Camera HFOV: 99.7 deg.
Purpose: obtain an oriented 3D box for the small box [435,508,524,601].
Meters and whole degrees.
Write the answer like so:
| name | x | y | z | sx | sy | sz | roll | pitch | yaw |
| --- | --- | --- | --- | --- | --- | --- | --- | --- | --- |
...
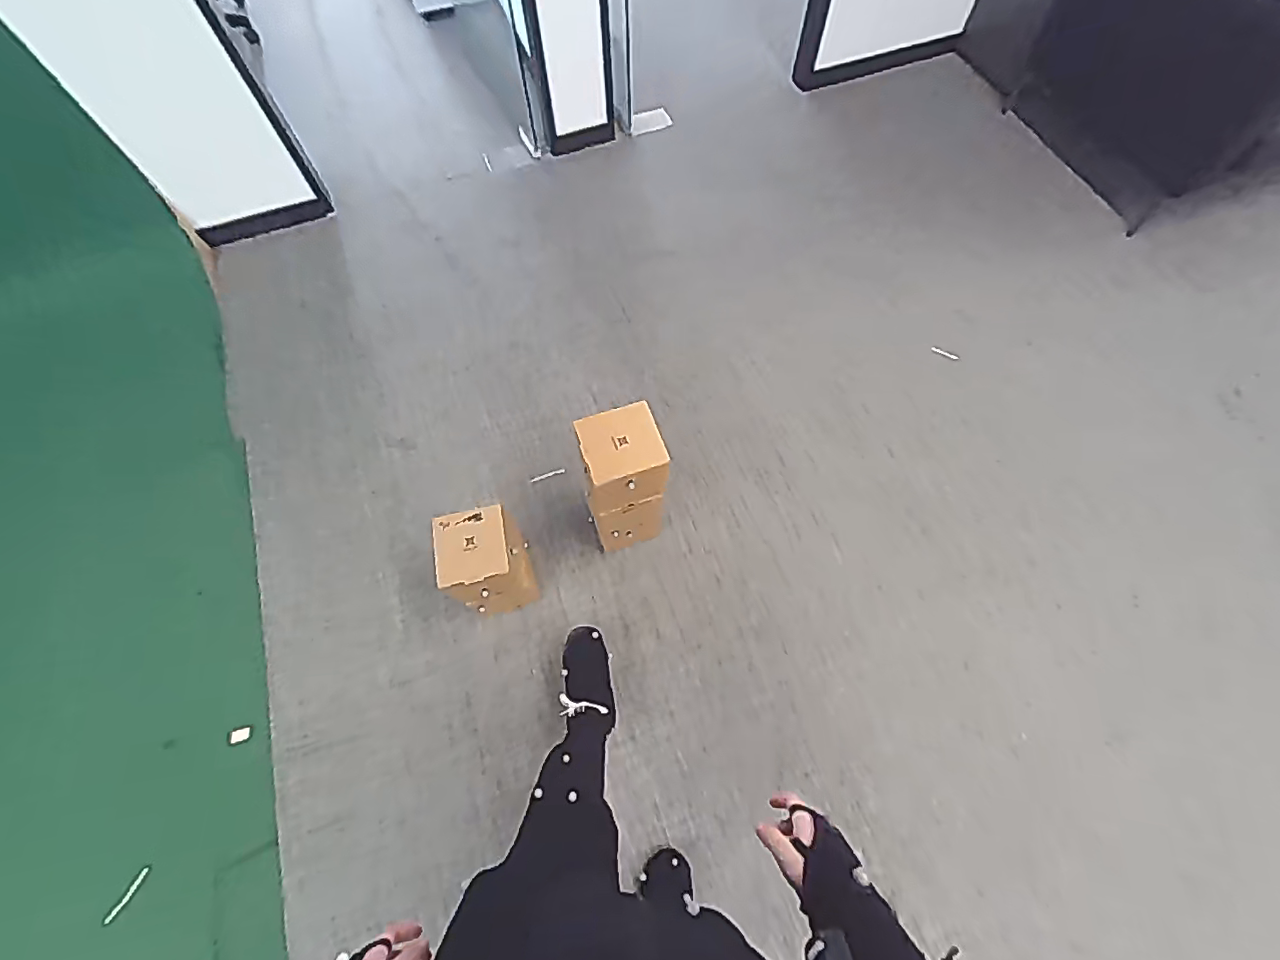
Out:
| name | x | y | z | sx | sy | sz | roll | pitch | yaw |
| --- | --- | --- | --- | --- | --- | --- | --- | --- | --- |
| small box | -0.391 | 0.191 | 1.335 | 0.168 | 0.176 | 0.179 | -12 | 66 | -6 |

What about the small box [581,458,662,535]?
| name | x | y | z | sx | sy | sz | roll | pitch | yaw |
| --- | --- | --- | --- | --- | --- | --- | --- | --- | --- |
| small box | -0.045 | 0.031 | 1.405 | 0.168 | 0.176 | 0.179 | -17 | 65 | -7 |

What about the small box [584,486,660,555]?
| name | x | y | z | sx | sy | sz | roll | pitch | yaw |
| --- | --- | --- | --- | --- | --- | --- | --- | --- | --- |
| small box | -0.047 | 0.098 | 1.555 | 0.179 | 0.176 | 0.168 | -18 | 66 | -8 |

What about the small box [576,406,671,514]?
| name | x | y | z | sx | sy | sz | roll | pitch | yaw |
| --- | --- | --- | --- | --- | --- | --- | --- | --- | --- |
| small box | -0.038 | -0.042 | 1.260 | 0.179 | 0.176 | 0.168 | -18 | 66 | -7 |
